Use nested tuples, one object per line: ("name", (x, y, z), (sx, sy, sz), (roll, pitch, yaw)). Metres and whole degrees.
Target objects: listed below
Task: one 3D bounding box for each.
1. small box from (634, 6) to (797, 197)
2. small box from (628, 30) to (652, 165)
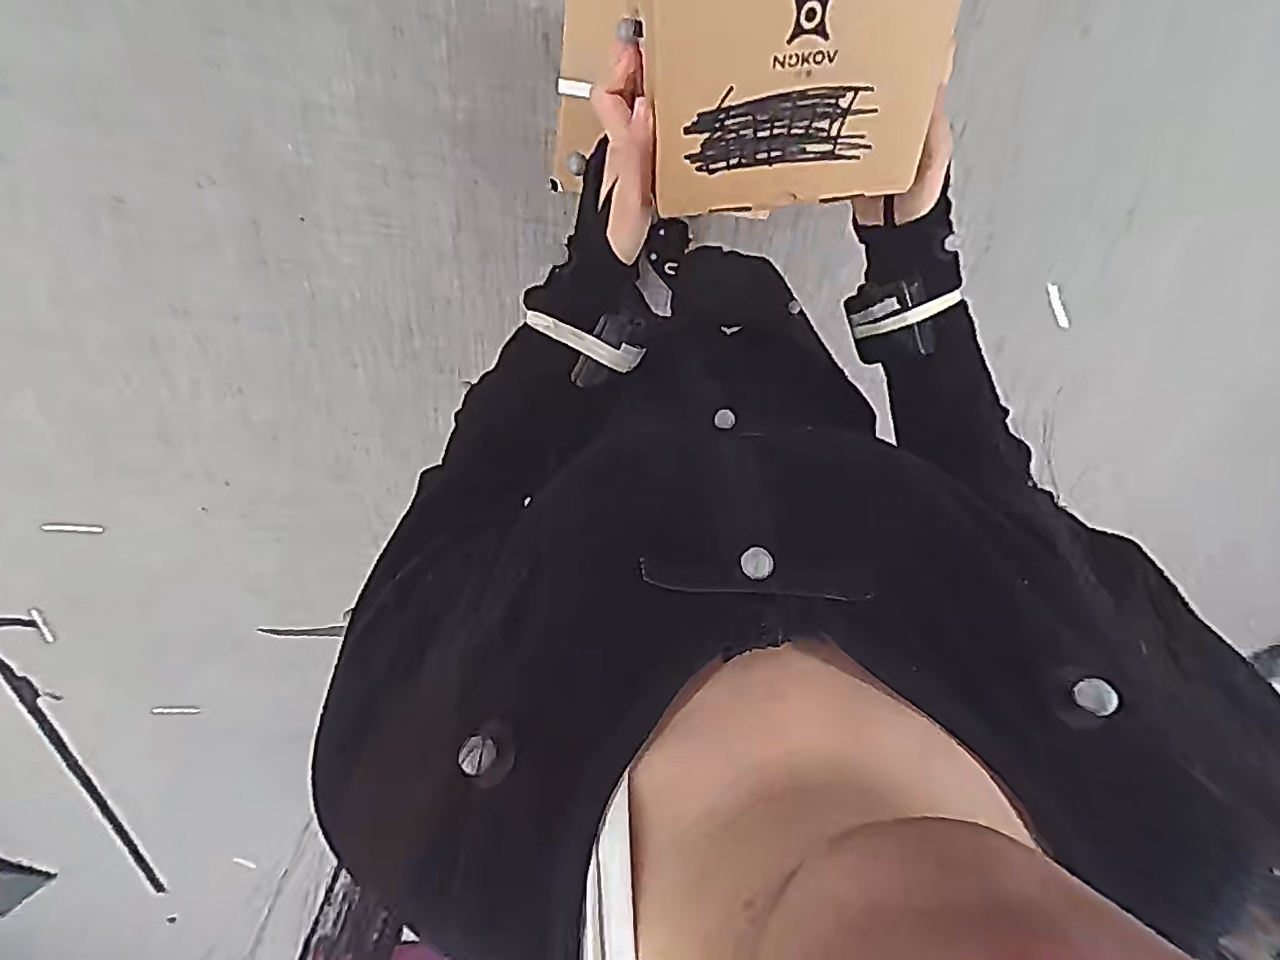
("small box", (0.086, -0.492, 0.722), (0.168, 0.176, 0.179), (3, 122, -7))
("small box", (0.077, -0.583, 0.856), (0.179, 0.176, 0.168), (2, 122, -8))
